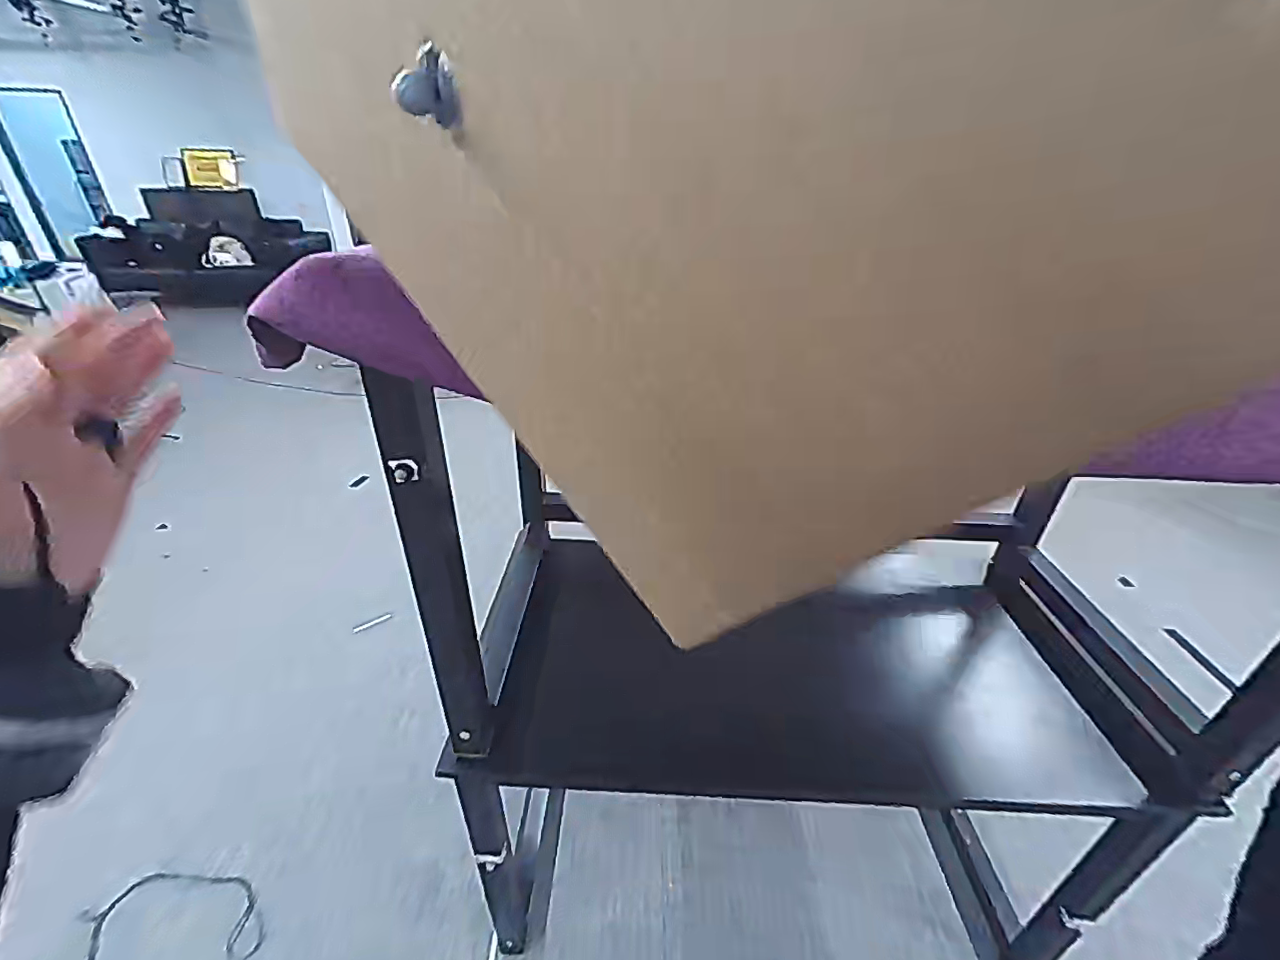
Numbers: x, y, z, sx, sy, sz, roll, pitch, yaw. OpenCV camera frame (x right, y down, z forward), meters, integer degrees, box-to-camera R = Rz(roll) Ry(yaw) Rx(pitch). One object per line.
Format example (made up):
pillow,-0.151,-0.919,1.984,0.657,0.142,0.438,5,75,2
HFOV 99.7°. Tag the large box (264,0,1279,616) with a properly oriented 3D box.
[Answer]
large box,0.052,-0.213,0.249,0.320,0.320,0.408,-32,76,-29
